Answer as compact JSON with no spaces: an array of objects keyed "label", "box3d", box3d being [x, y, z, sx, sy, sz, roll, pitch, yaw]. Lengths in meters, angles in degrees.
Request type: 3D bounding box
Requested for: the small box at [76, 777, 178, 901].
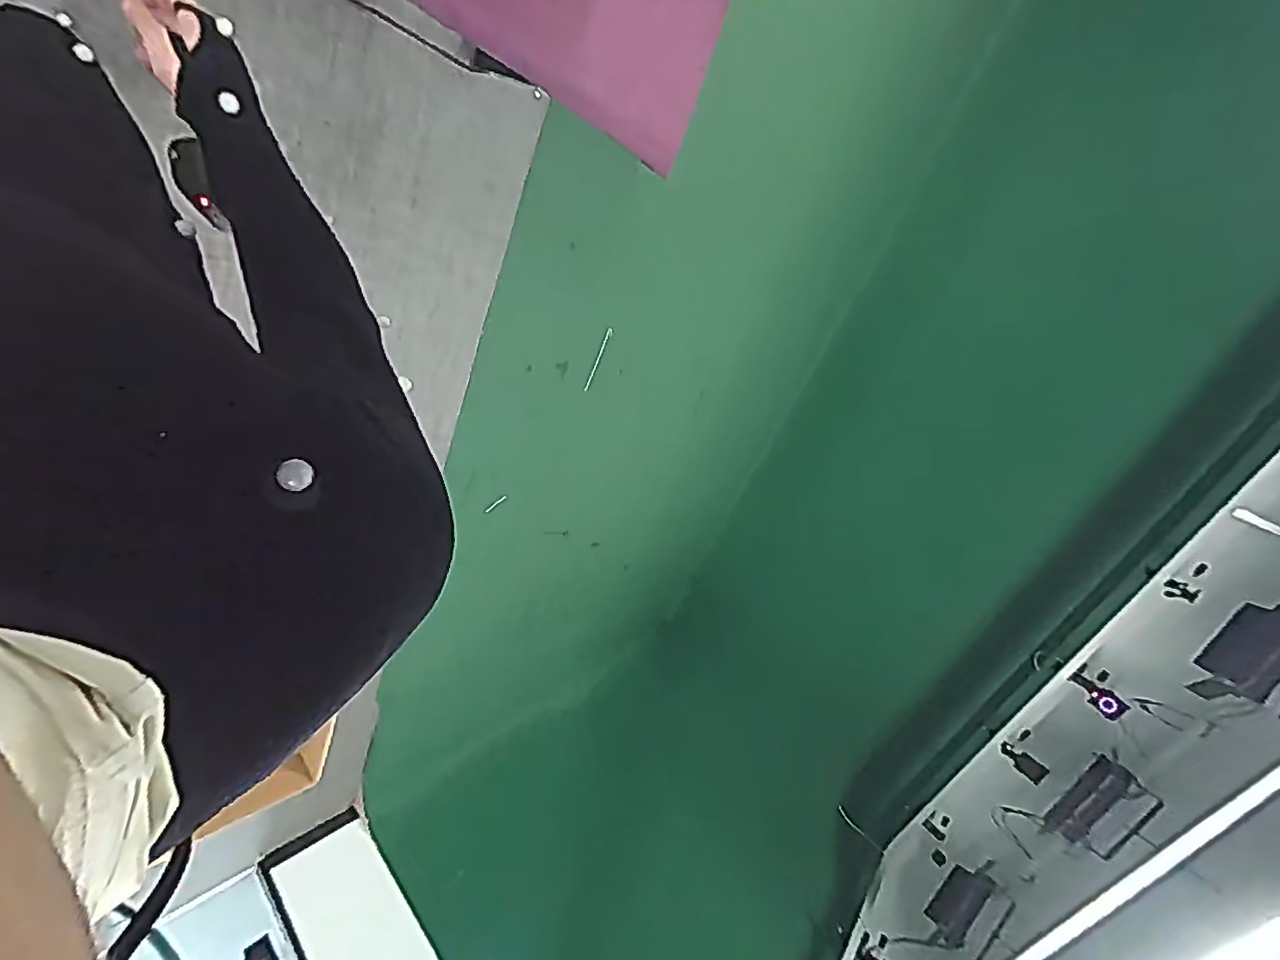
[{"label":"small box","box3d":[-1.340,0.926,1.410,0.168,0.176,0.179,-5,125,-53]}]
